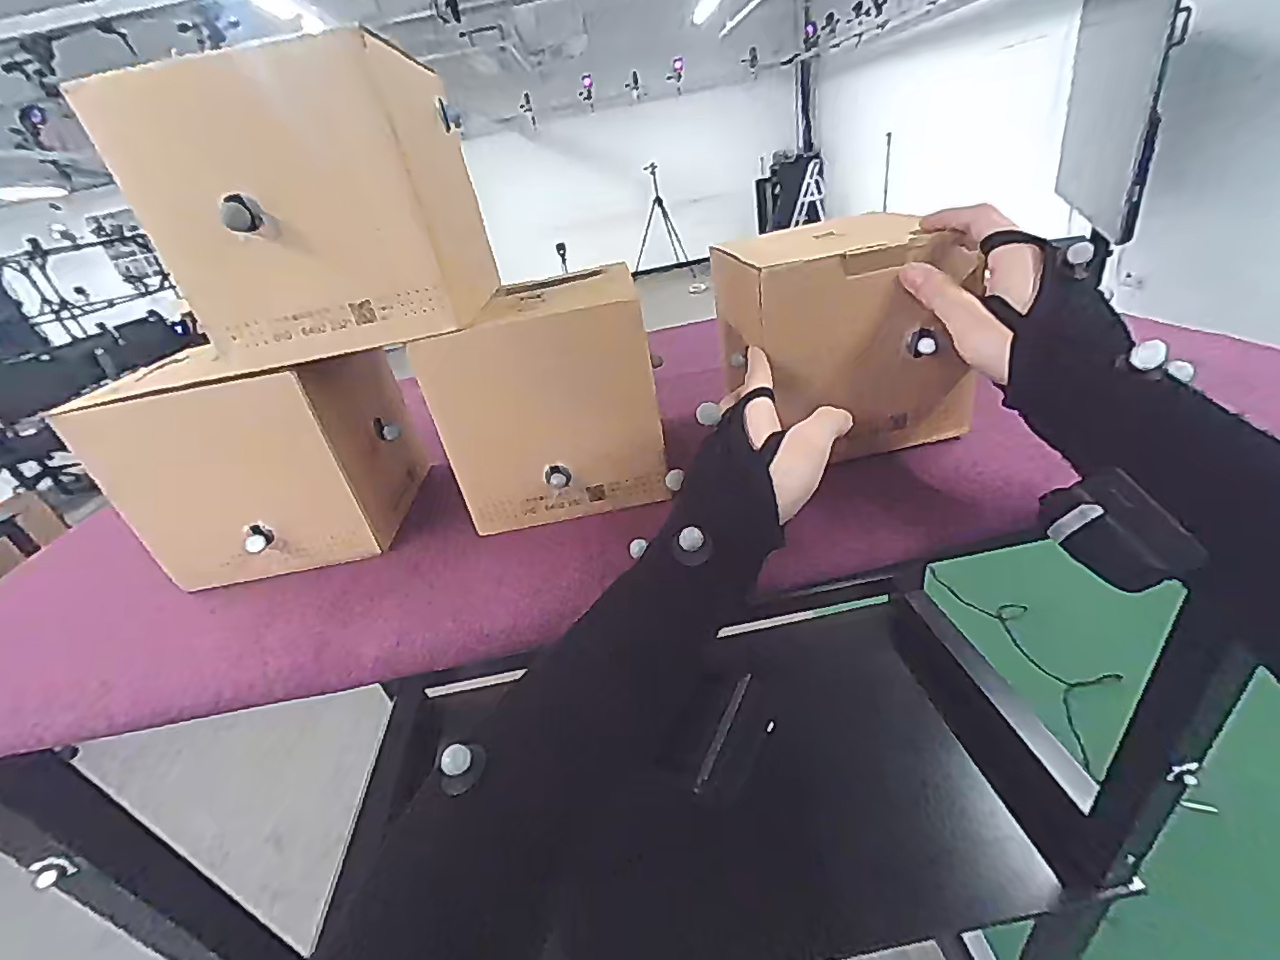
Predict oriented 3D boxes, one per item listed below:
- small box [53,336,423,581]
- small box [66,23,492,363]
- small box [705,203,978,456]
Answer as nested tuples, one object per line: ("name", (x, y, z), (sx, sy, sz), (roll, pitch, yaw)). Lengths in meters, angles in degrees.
("small box", (-0.321, -0.033, 0.485), (0.179, 0.176, 0.168), (-11, 30, 0))
("small box", (-0.223, -0.196, 0.401), (0.168, 0.176, 0.179), (-12, 30, 2))
("small box", (0.165, -0.133, 0.483), (0.168, 0.176, 0.179), (-12, 29, 1))
